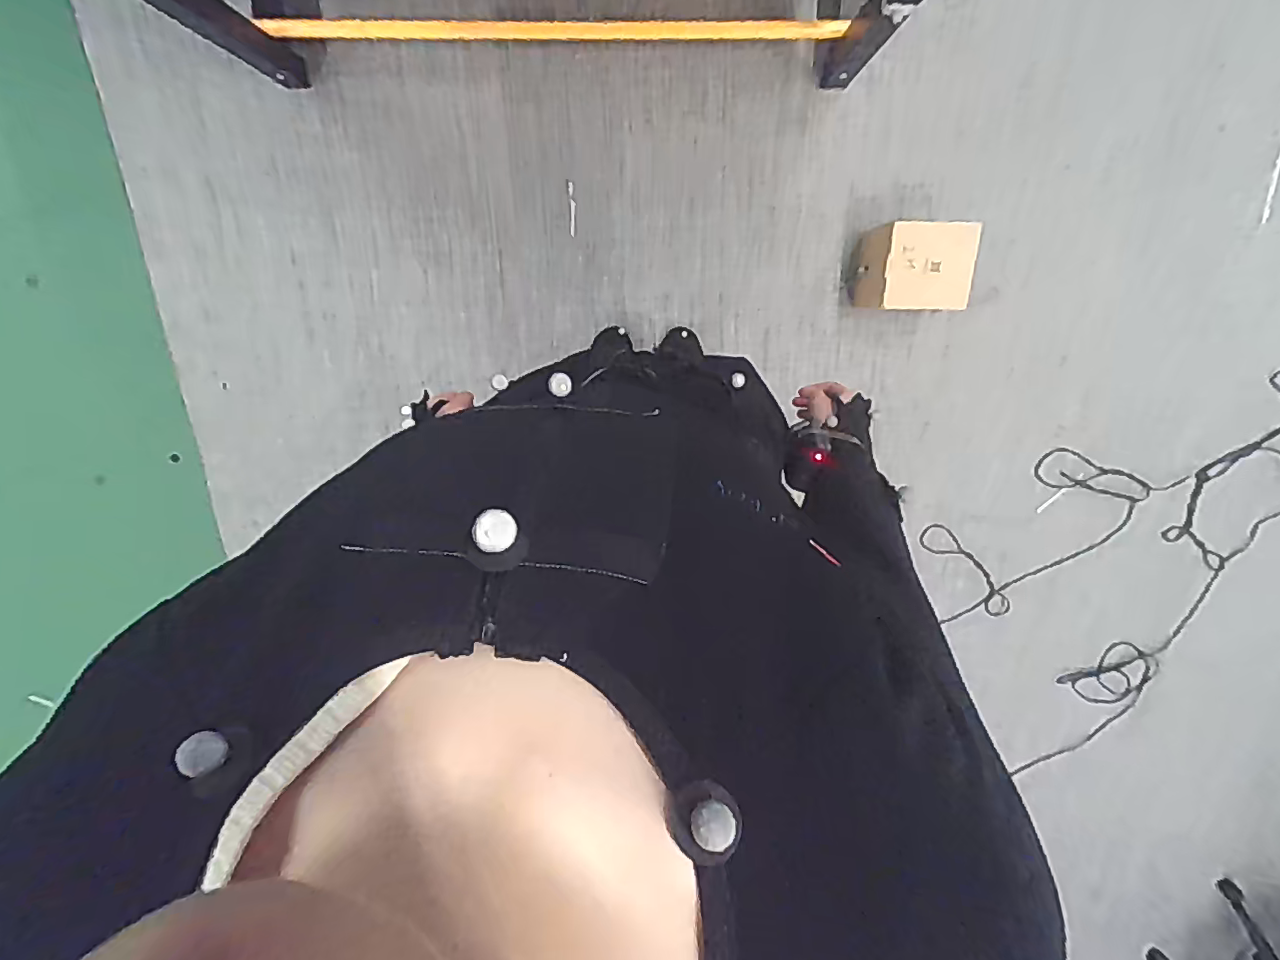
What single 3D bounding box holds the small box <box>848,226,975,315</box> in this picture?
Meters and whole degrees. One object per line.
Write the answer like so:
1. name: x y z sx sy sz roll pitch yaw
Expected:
1. small box: 0.573 -0.444 1.161 0.179 0.176 0.168 1 106 0
